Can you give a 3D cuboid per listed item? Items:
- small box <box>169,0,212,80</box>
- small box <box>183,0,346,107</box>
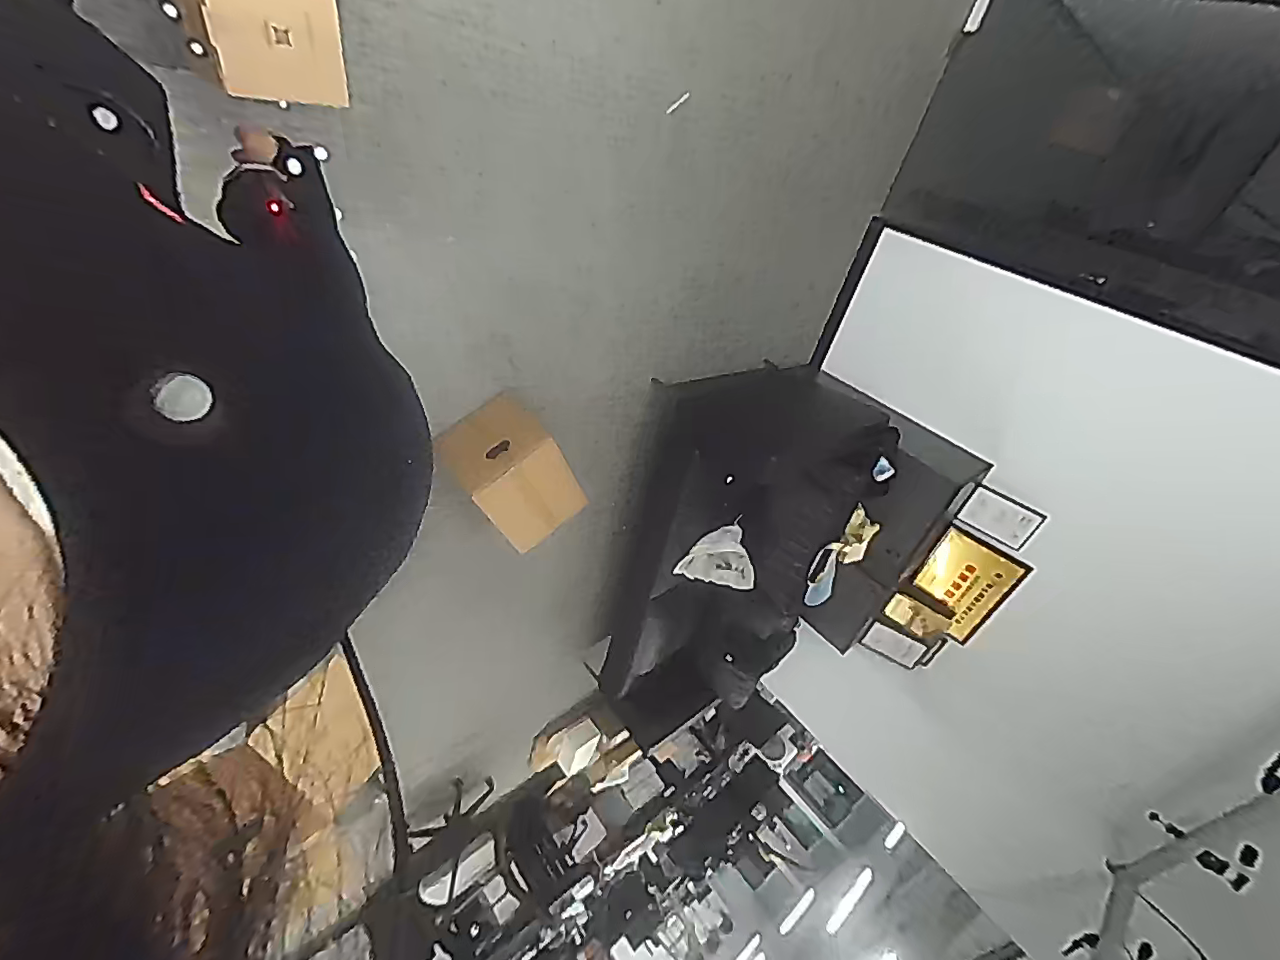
[{"bbox_3d":[-0.699,-0.794,0.940,0.179,0.176,0.168,-20,139,-37],"label":"small box"},{"bbox_3d":[-0.595,-0.709,0.848,0.179,0.176,0.168,-23,142,-36],"label":"small box"}]
